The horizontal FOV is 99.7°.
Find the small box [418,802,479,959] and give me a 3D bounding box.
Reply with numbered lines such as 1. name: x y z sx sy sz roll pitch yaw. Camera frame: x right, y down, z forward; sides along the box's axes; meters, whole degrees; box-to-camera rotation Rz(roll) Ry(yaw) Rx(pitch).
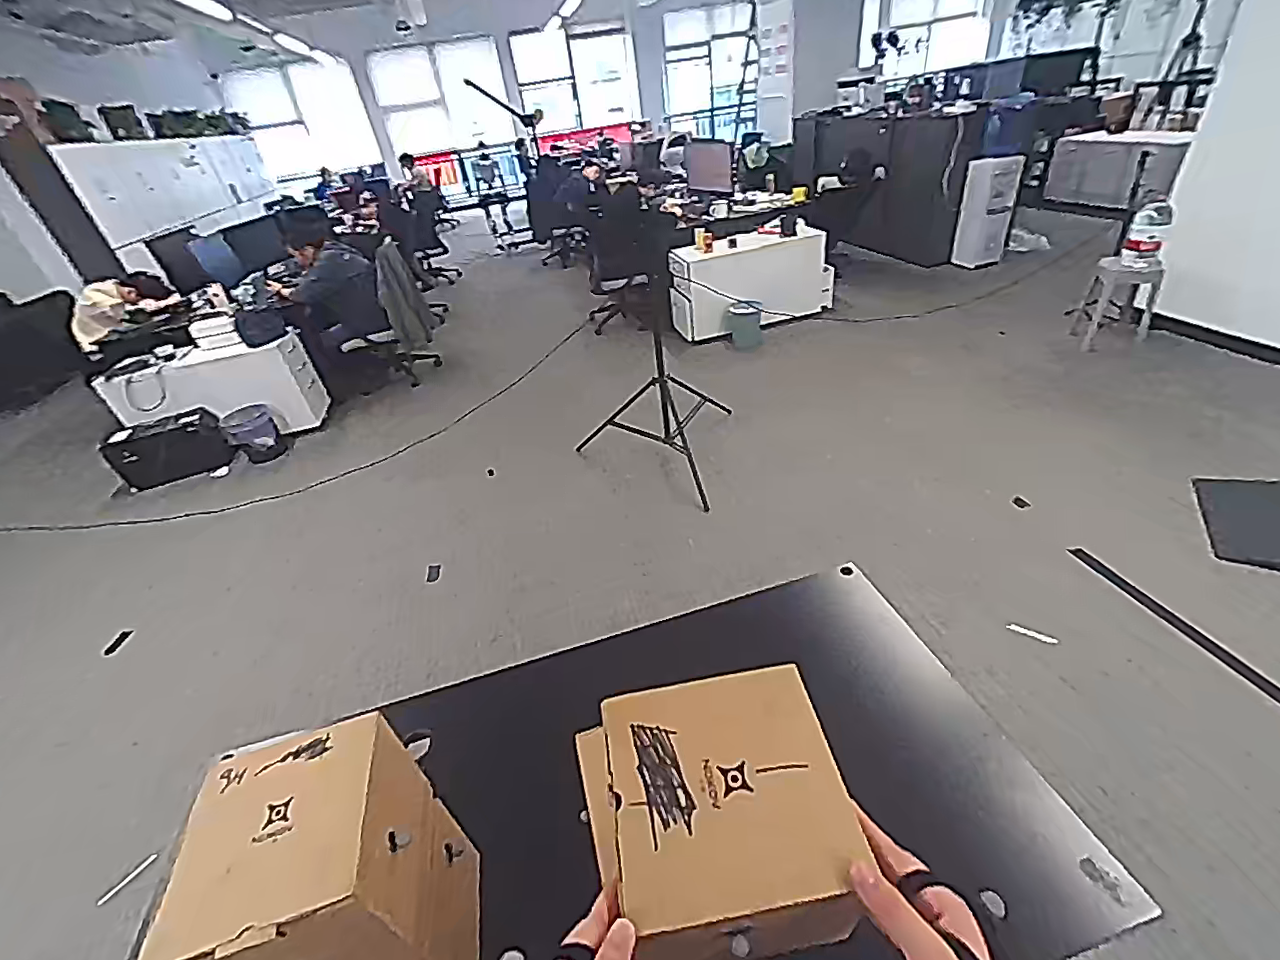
1. small box: -0.289 0.515 0.615 0.168 0.176 0.179 -14 35 -7

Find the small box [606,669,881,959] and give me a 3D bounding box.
1. small box: 0.073 0.292 0.463 0.179 0.176 0.168 -9 41 -3

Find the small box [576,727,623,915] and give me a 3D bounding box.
1. small box: 0.027 0.419 0.683 0.168 0.176 0.179 -16 36 -8

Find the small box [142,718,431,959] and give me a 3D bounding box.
1. small box: -0.315 0.378 0.529 0.168 0.176 0.179 -15 36 -10
